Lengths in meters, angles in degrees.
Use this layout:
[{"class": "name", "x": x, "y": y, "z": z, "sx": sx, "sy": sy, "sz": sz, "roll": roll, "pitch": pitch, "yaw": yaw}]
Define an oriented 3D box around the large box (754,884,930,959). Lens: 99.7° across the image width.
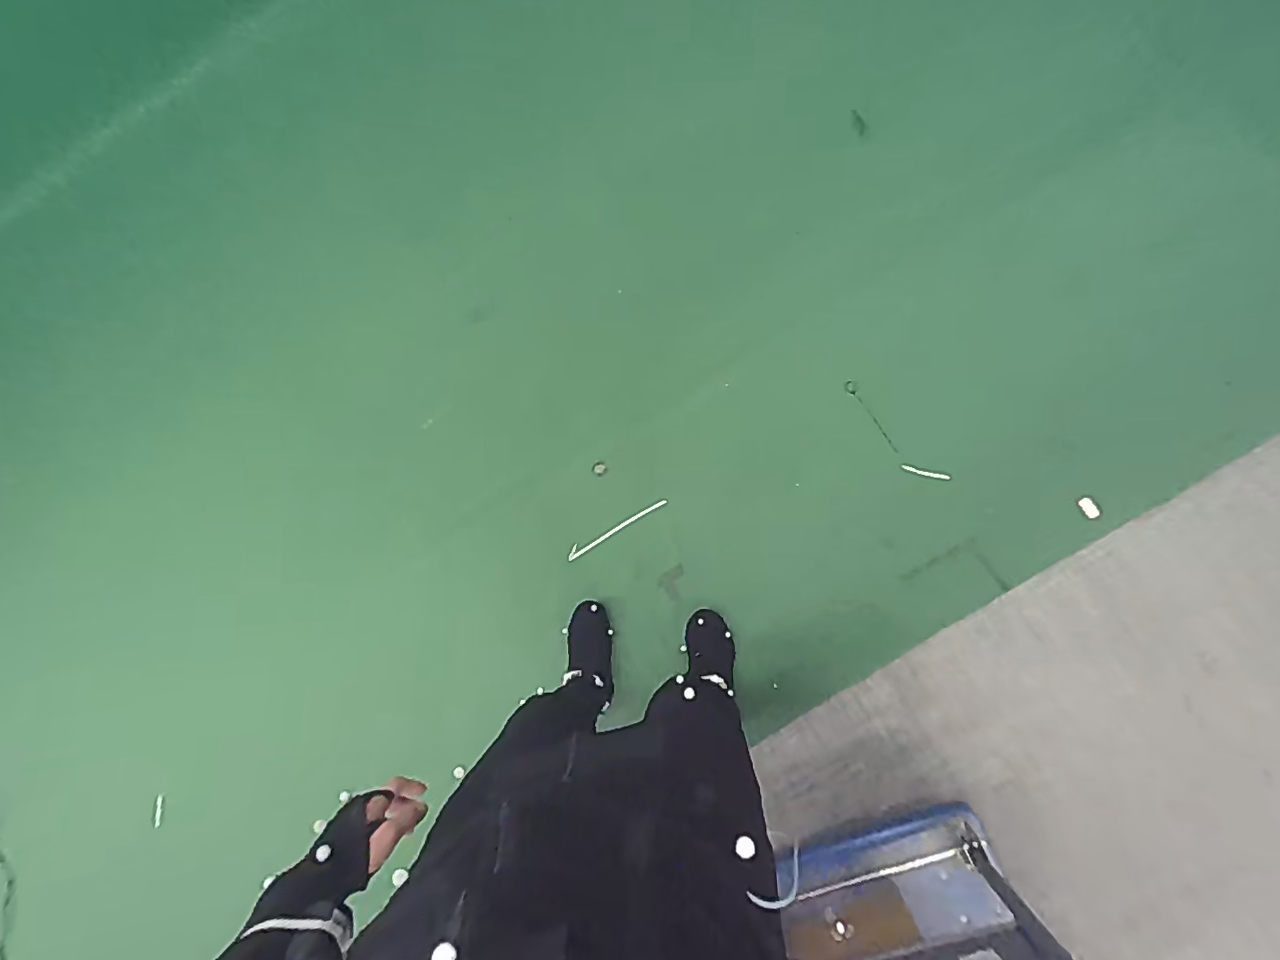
[{"class": "large box", "x": 0.424, "y": 1.036, "z": 0.935, "sx": 0.320, "sy": 0.320, "sz": 0.408, "roll": -23, "pitch": 78, "yaw": 6}]
